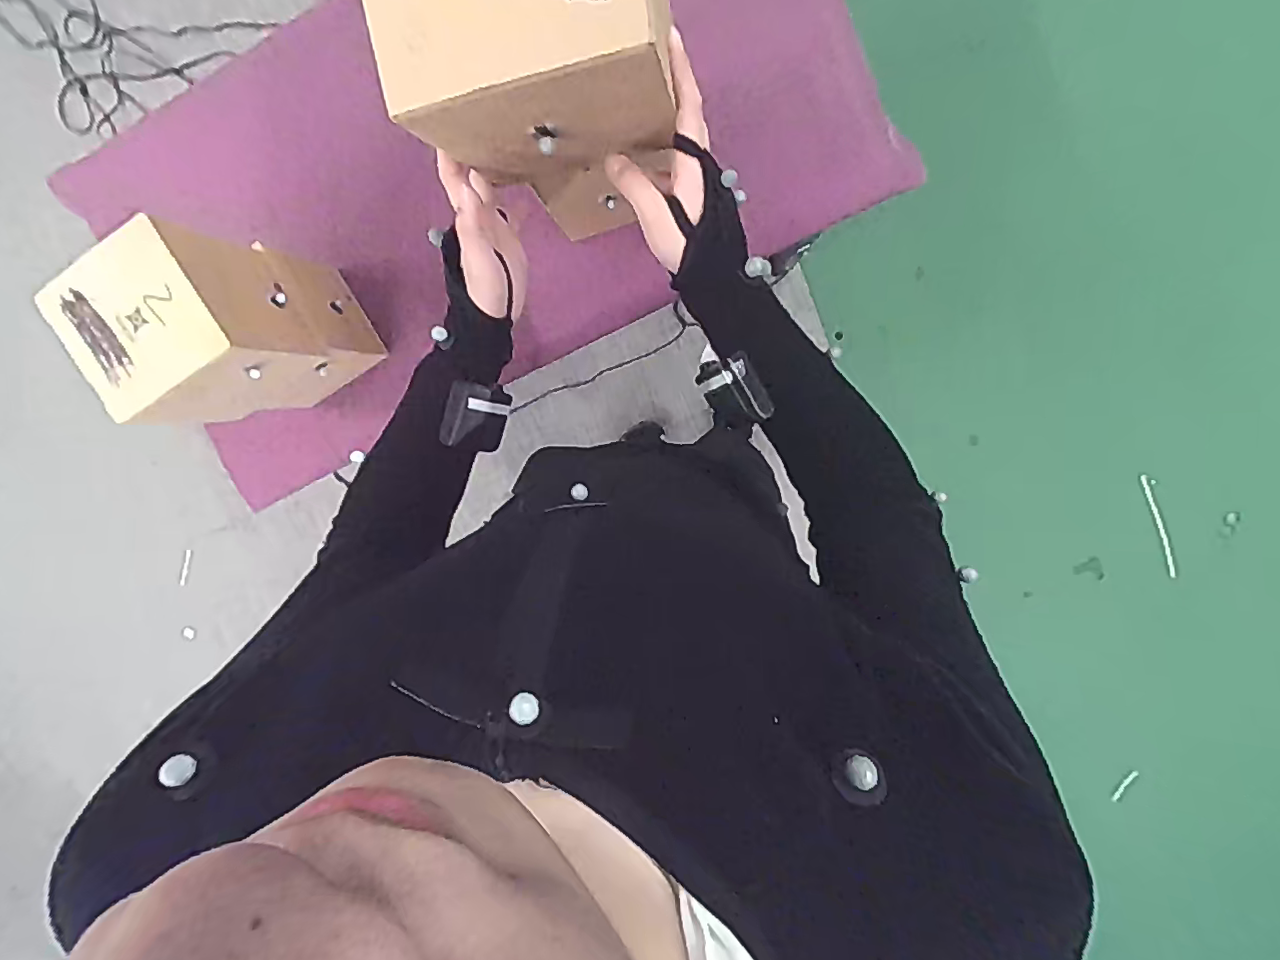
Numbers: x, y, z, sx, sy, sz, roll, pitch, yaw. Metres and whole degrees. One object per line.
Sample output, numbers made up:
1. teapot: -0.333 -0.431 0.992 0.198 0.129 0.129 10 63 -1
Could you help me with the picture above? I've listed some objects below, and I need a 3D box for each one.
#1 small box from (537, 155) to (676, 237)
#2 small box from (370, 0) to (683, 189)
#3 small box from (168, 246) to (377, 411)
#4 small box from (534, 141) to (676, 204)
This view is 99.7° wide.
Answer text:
1. small box: -0.053 -0.456 0.743 0.179 0.176 0.168 -13 98 7
2. small box: -0.067 -0.328 0.383 0.179 0.176 0.168 -5 104 13
3. small box: -0.538 -0.222 0.826 0.179 0.176 0.168 -29 96 9
4. small box: -0.067 -0.427 0.583 0.179 0.176 0.168 -16 98 9
